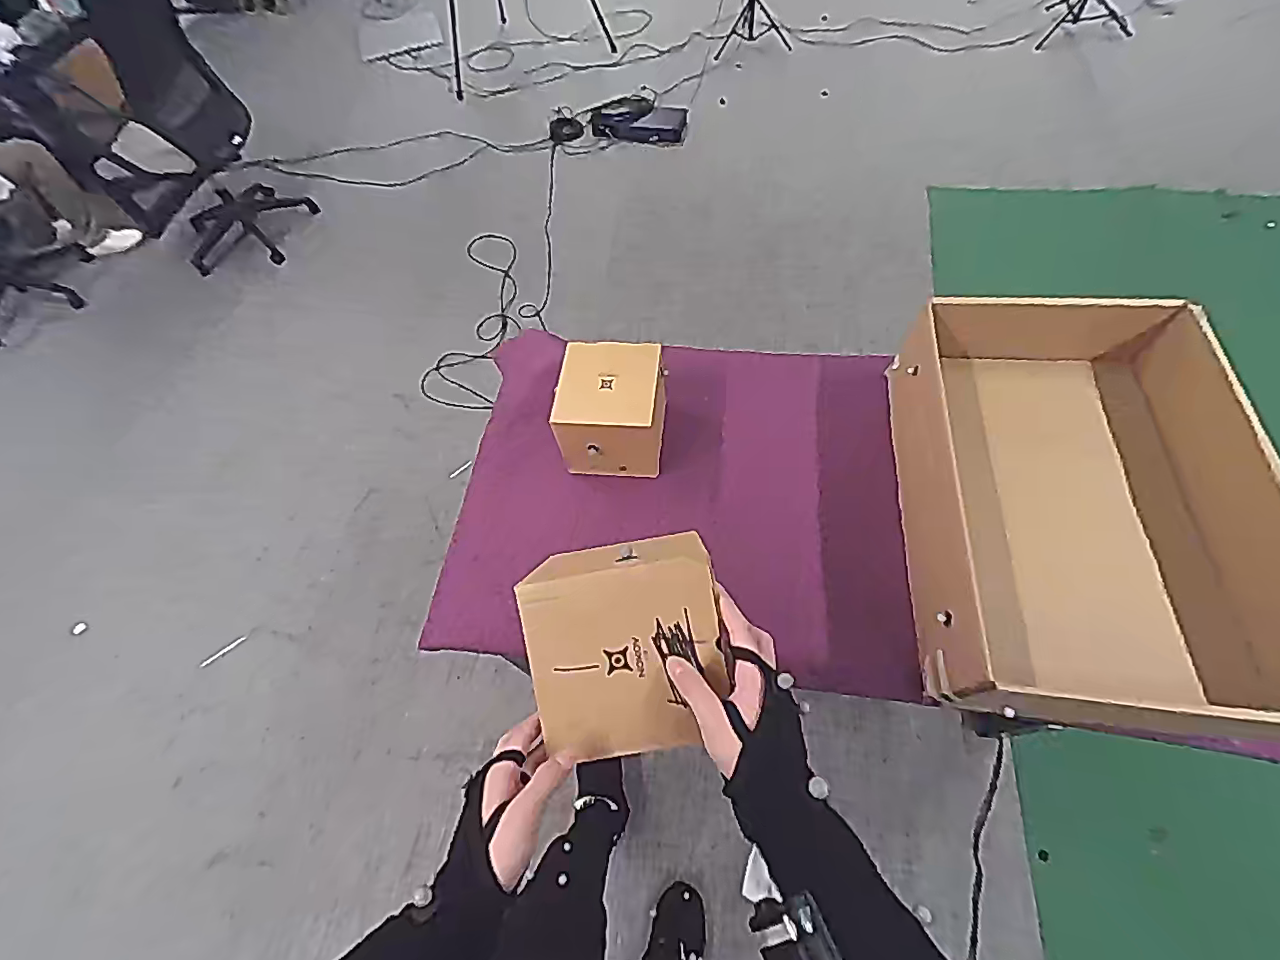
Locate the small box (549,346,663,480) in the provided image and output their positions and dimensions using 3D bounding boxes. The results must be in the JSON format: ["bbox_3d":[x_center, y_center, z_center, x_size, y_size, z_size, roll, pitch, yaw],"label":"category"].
[{"bbox_3d":[-0.049,-0.115,0.958,0.168,0.176,0.179,3,59,7],"label":"small box"}]
